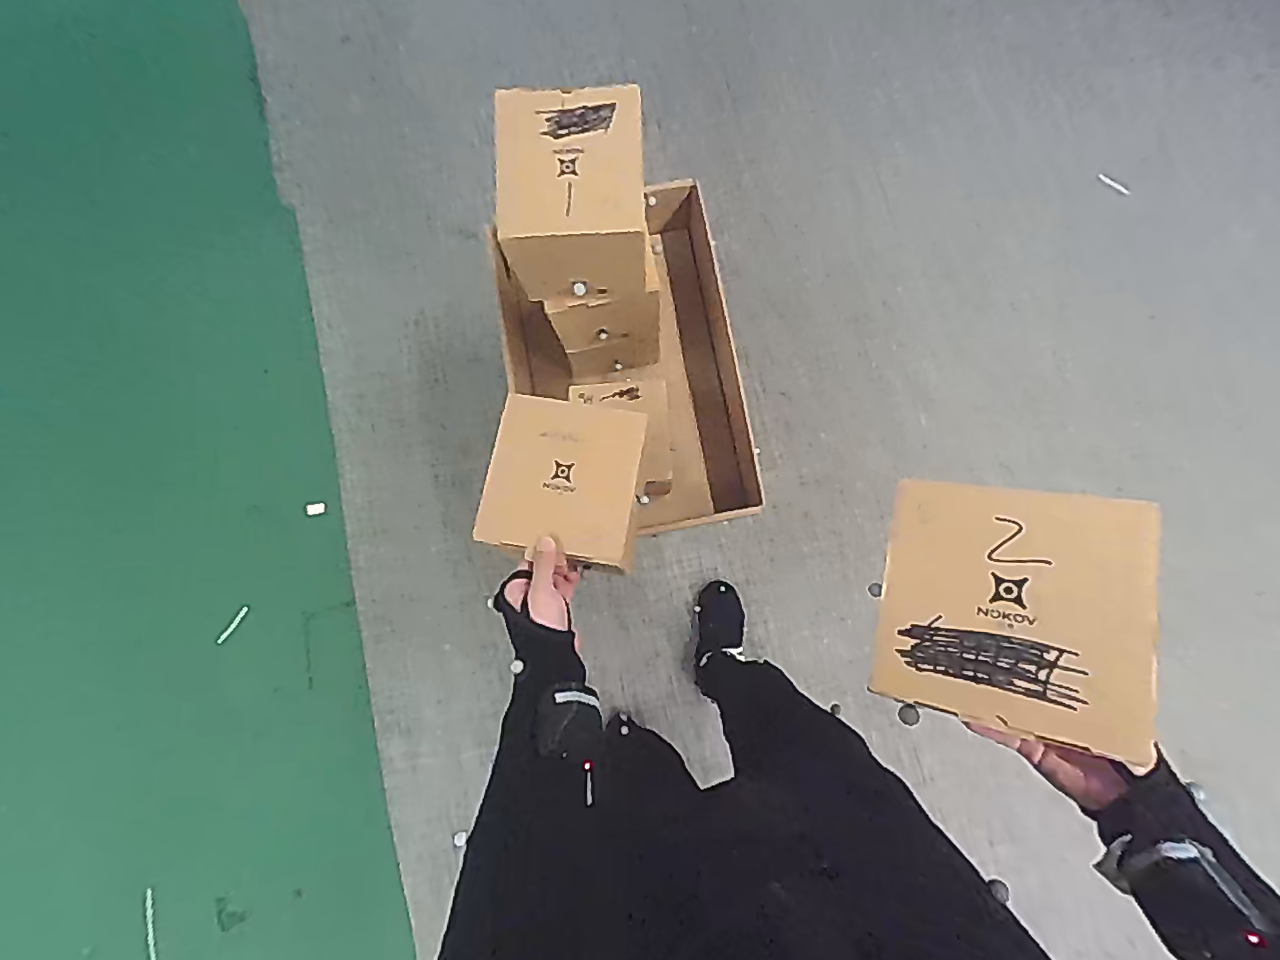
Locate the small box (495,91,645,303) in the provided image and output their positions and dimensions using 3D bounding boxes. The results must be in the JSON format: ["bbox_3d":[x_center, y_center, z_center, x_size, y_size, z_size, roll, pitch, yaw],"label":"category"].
[{"bbox_3d":[-0.079,-0.345,0.684,0.168,0.176,0.179,-2,84,2],"label":"small box"}]

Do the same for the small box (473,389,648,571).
[{"bbox_3d":[-0.084,0.011,0.676,0.168,0.176,0.179,10,74,4],"label":"small box"}]

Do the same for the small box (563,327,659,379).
[{"bbox_3d":[-0.061,-0.307,1.008,0.168,0.176,0.179,-11,83,2],"label":"small box"}]

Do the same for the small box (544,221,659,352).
[{"bbox_3d":[-0.068,-0.323,0.847,0.168,0.176,0.179,-12,84,0],"label":"small box"}]
